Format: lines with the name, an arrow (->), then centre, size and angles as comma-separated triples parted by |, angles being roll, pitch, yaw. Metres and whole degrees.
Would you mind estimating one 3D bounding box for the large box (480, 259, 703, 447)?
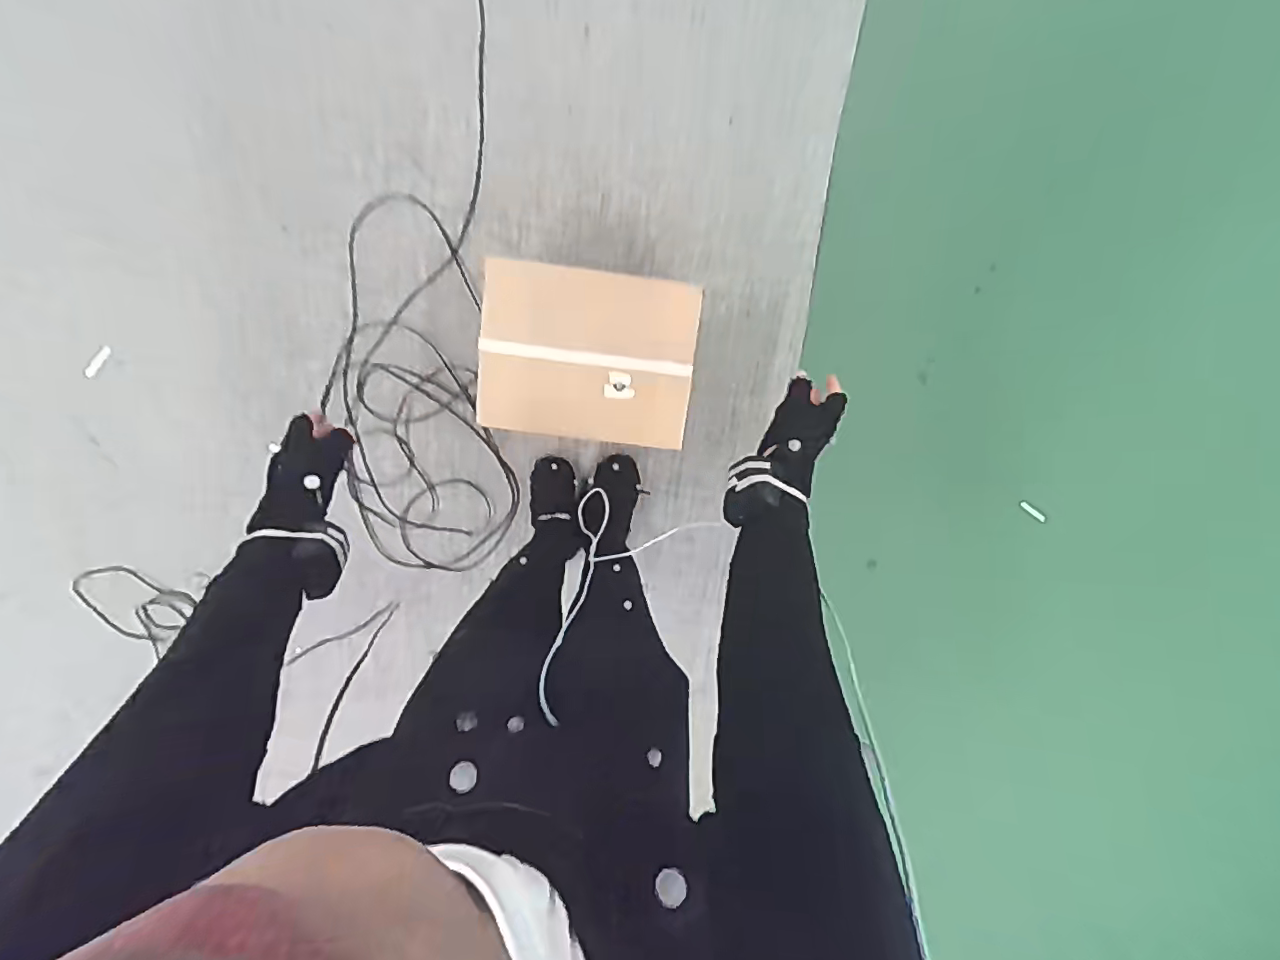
large box -> -0.105, -0.265, 1.171 | 0.408, 0.320, 0.320 | 7, 103, -4
